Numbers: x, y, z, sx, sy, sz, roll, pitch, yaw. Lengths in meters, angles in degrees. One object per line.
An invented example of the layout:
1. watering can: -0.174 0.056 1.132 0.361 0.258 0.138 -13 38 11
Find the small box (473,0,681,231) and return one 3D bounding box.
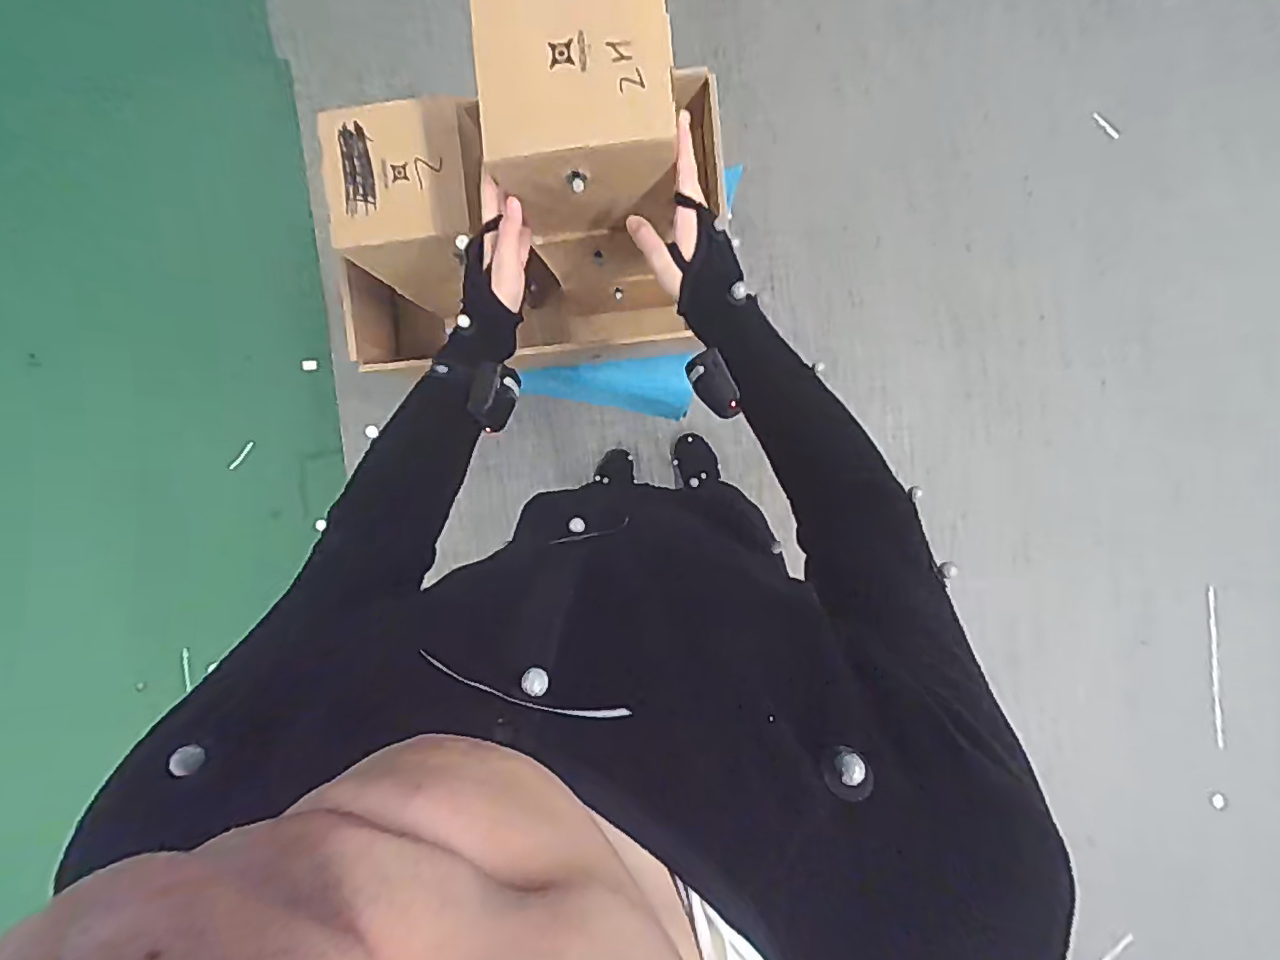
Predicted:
1. small box: -0.052 -0.374 0.555 0.179 0.176 0.168 -4 93 6

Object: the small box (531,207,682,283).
1. small box: -0.041 -0.376 0.720 0.179 0.176 0.168 -5 93 7
